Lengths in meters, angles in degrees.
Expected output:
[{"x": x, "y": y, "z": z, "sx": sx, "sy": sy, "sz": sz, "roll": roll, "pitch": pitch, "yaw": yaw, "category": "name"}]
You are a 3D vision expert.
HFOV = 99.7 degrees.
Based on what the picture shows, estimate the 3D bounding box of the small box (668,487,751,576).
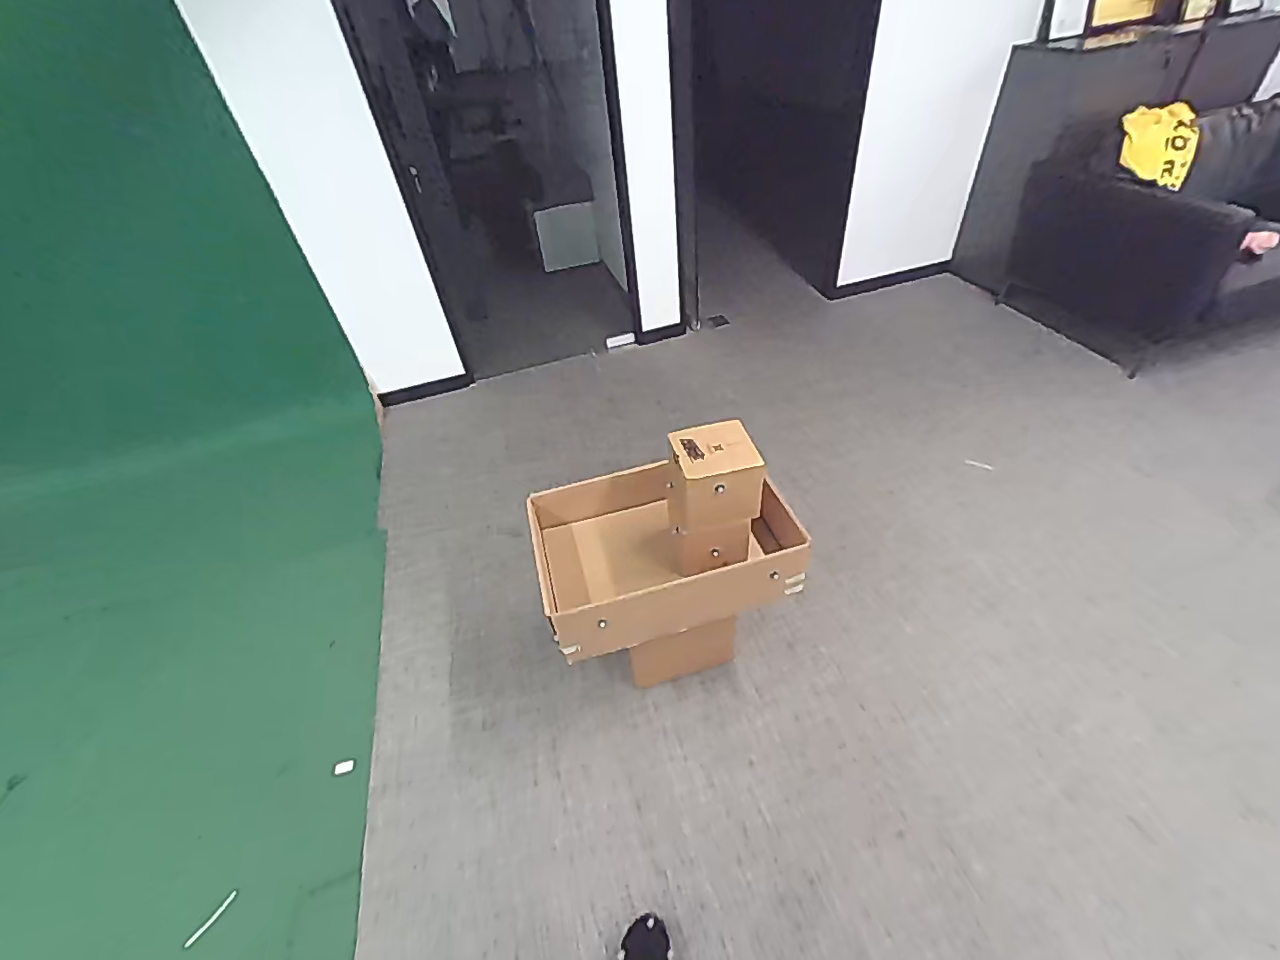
[{"x": 0.171, "y": 0.121, "z": 1.347, "sx": 0.168, "sy": 0.176, "sz": 0.179, "roll": -11, "pitch": 42, "yaw": -4, "category": "small box"}]

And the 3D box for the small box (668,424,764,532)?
[{"x": 0.170, "y": -0.002, "z": 1.237, "sx": 0.179, "sy": 0.176, "sz": 0.168, "roll": -11, "pitch": 43, "yaw": -6, "category": "small box"}]
